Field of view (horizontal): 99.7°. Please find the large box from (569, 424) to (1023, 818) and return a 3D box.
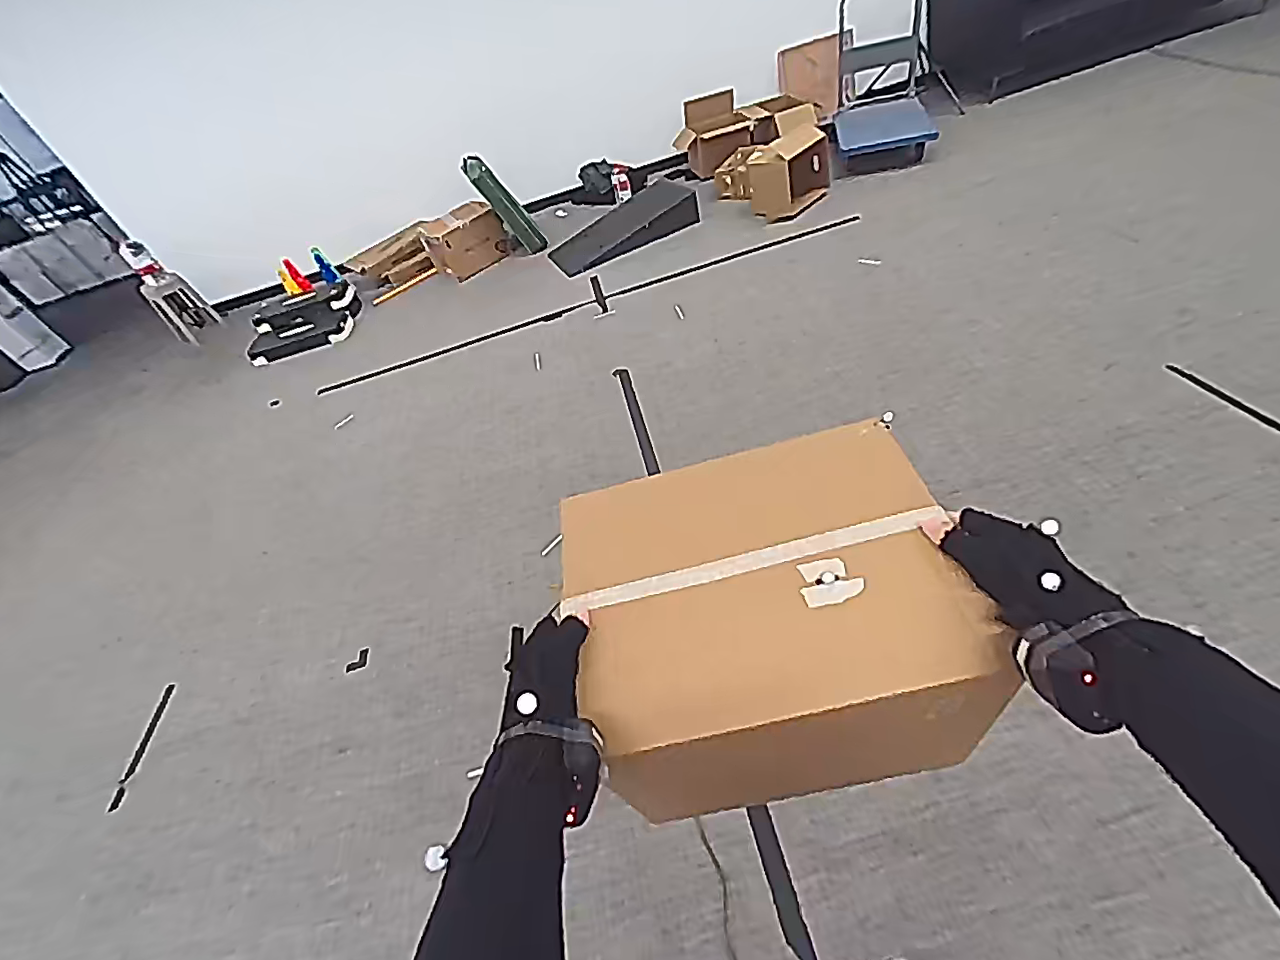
[{"bbox_3d":[0.152,0.186,0.685,0.408,0.320,0.320,-15,48,4],"label":"large box"}]
